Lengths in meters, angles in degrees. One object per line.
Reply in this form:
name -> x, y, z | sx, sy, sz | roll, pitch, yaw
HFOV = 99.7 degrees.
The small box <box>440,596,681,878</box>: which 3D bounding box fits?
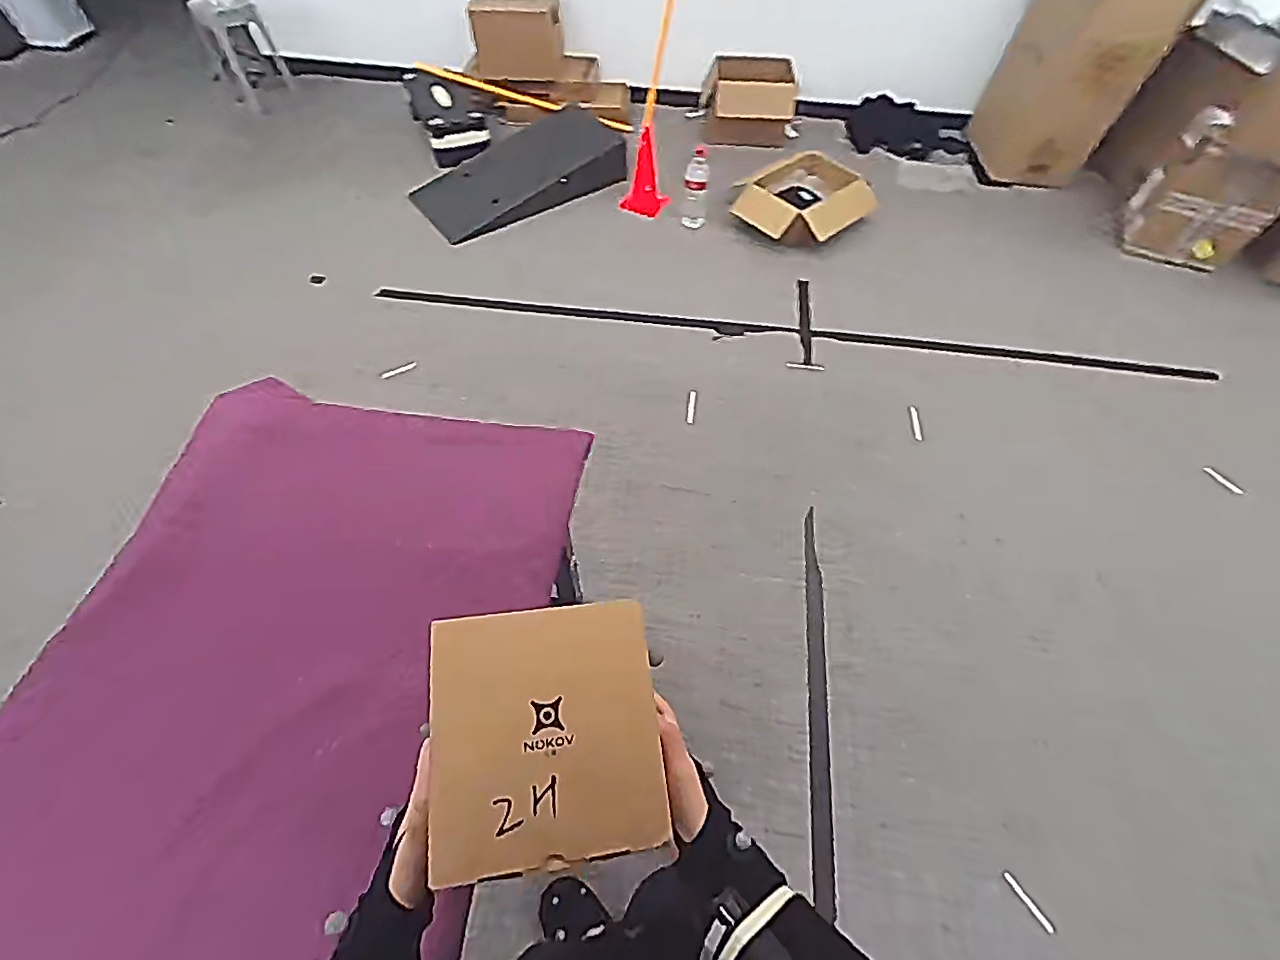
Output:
small box -> -0.070, 0.212, 0.472 | 0.168, 0.176, 0.179 | -4, 67, -9
